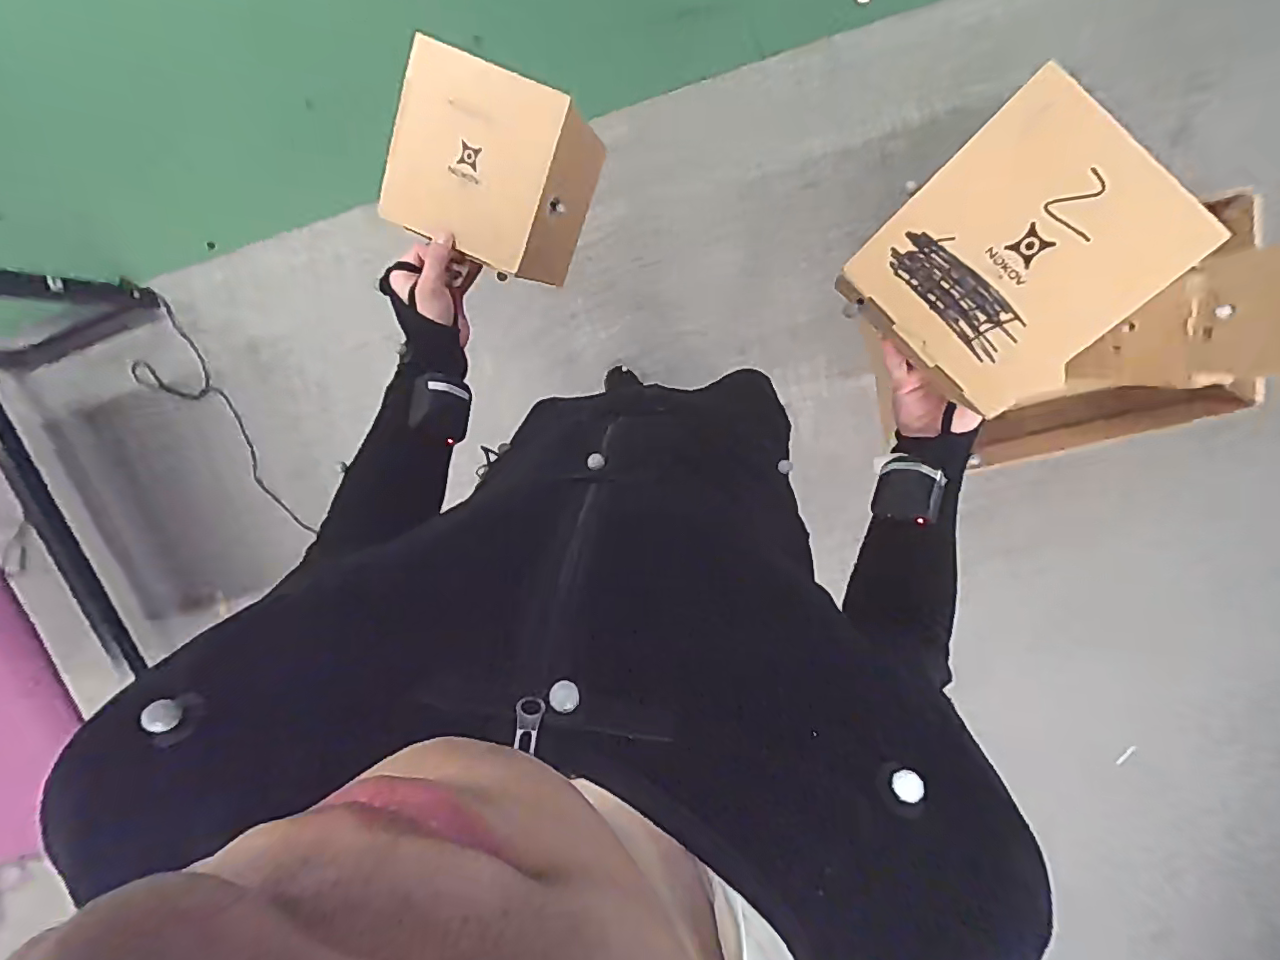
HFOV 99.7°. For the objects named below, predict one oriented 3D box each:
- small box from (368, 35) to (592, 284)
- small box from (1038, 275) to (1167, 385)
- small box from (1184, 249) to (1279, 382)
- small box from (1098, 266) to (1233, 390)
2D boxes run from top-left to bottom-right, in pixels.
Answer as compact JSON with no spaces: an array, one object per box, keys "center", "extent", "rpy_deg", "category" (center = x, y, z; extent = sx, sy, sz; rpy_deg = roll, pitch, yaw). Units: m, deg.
[{"center":[-0.169,-0.339,0.615],"extent":[0.168,0.176,0.179],"rpy_deg":[24,108,2],"category":"small box"},{"center":[0.904,-0.283,1.024],"extent":[0.179,0.176,0.168],"rpy_deg":[-13,100,6],"category":"small box"},{"center":[0.886,-0.220,0.704],"extent":[0.179,0.176,0.168],"rpy_deg":[-4,102,6],"category":"small box"},{"center":[0.892,-0.249,0.866],"extent":[0.179,0.176,0.168],"rpy_deg":[-14,101,7],"category":"small box"}]
